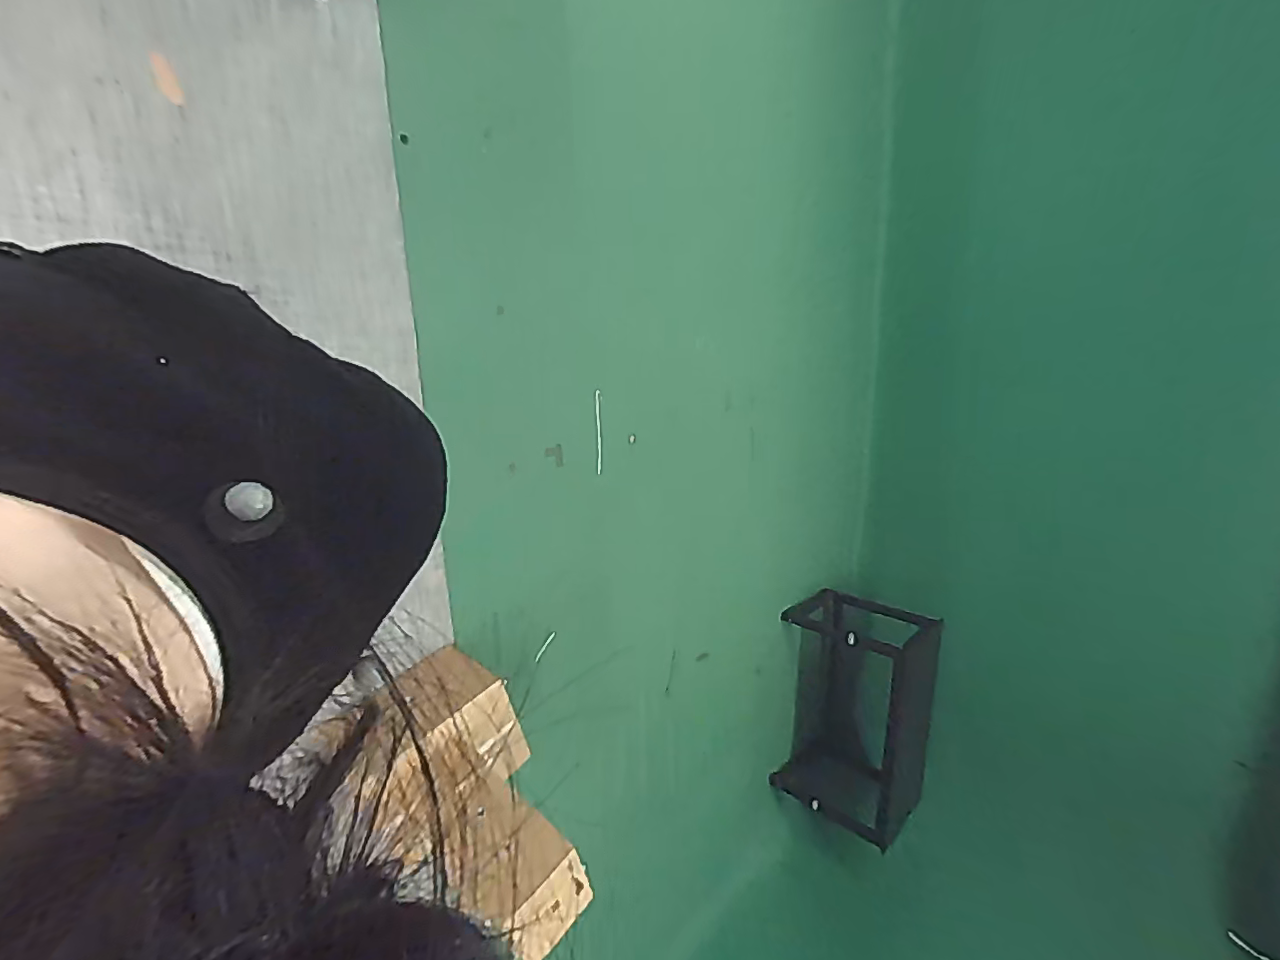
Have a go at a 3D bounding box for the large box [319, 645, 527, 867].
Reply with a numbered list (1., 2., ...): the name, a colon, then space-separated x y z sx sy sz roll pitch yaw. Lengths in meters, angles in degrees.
1. large box: -0.606 0.754 1.543 0.408 0.320 0.320 -32 121 -39

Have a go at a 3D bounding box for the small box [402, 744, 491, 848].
1. small box: -0.463 0.792 1.345 0.168 0.176 0.179 -30 119 -38

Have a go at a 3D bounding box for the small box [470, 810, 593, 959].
1. small box: -0.229 0.842 1.120 0.179 0.176 0.168 -30 118 -37

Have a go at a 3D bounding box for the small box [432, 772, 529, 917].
1. small box: -0.348 0.818 1.231 0.179 0.176 0.168 -32 119 -38
